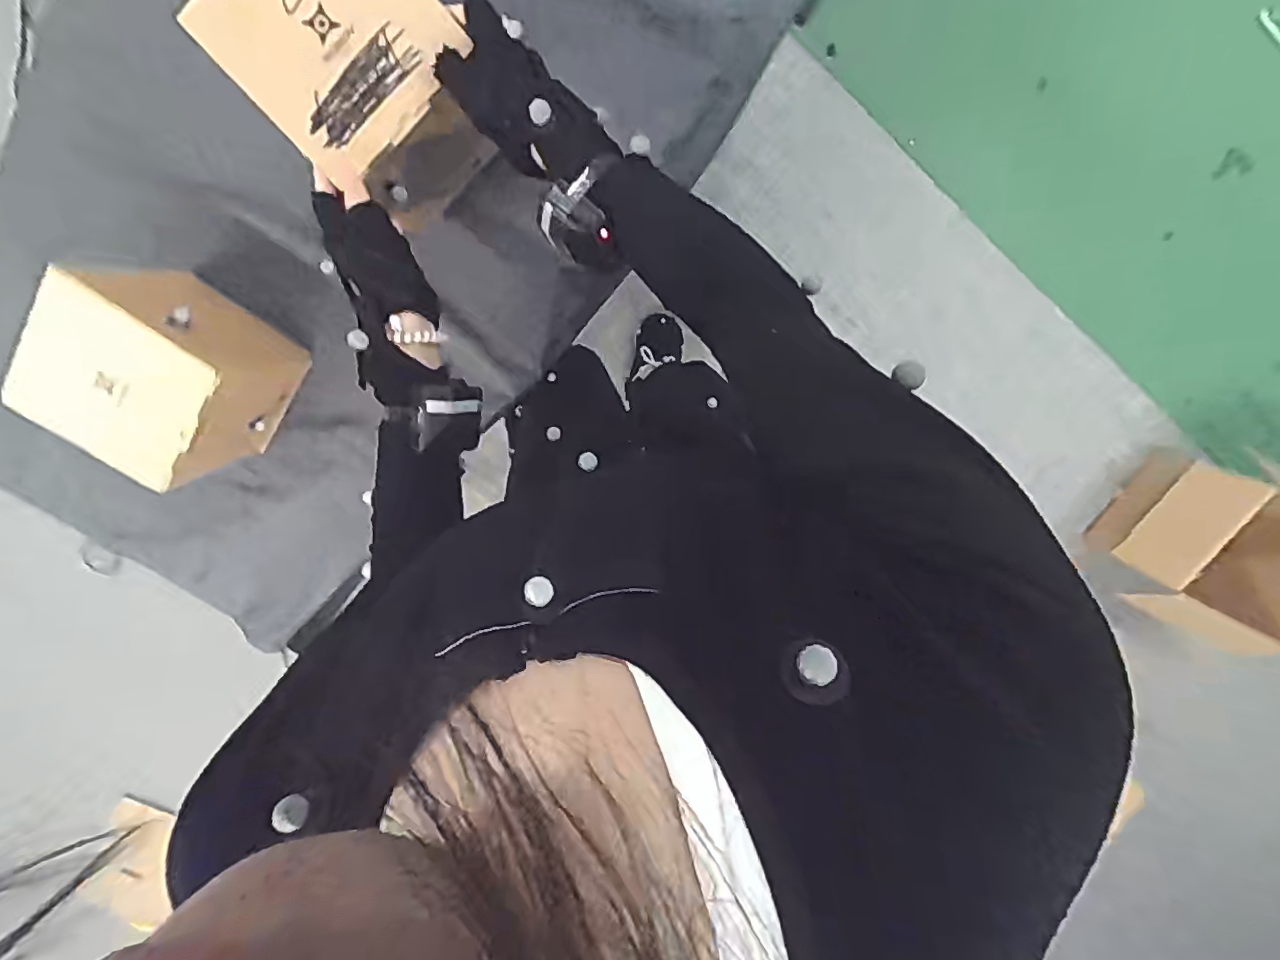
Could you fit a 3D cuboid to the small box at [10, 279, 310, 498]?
[{"bbox_3d":[-0.545,-0.112,0.639,0.179,0.176,0.168,35,105,-11],"label":"small box"}]
